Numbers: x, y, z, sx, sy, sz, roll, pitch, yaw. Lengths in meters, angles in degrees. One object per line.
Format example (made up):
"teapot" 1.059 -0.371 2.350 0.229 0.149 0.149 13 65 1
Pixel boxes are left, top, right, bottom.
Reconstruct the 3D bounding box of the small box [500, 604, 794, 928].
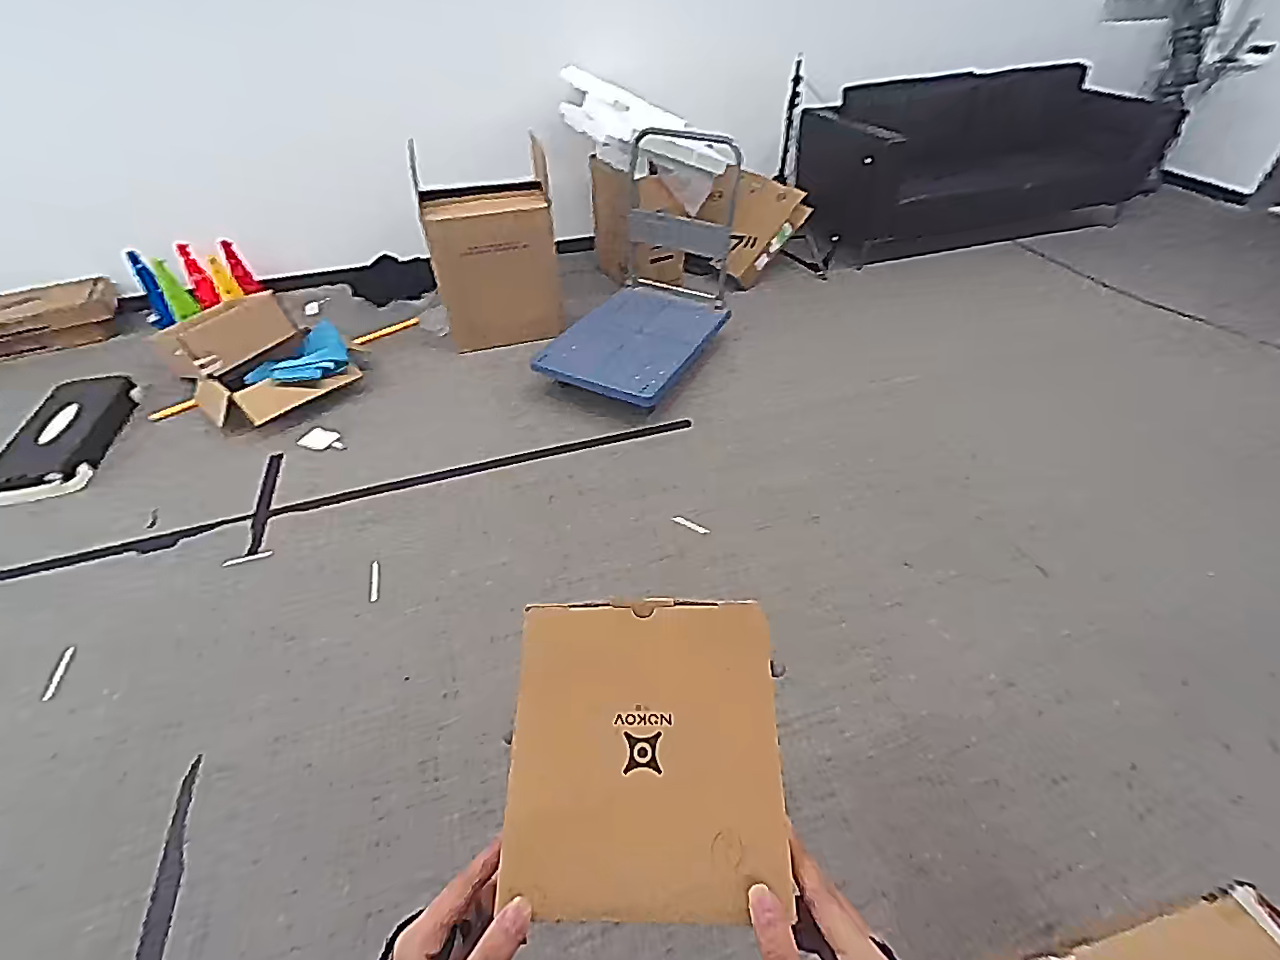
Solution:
"small box" 0.008 0.201 0.402 0.168 0.176 0.179 -3 61 3
